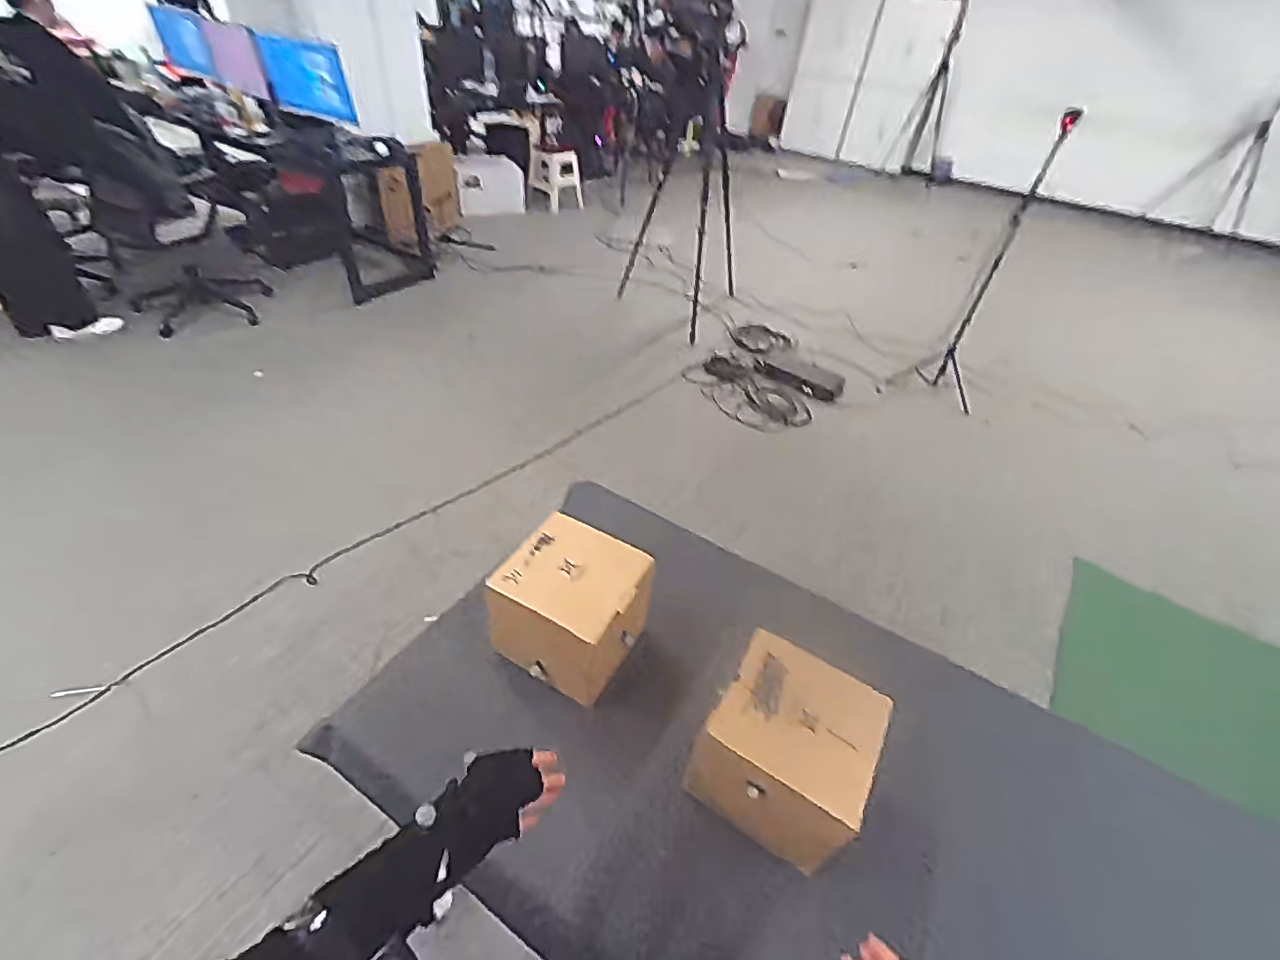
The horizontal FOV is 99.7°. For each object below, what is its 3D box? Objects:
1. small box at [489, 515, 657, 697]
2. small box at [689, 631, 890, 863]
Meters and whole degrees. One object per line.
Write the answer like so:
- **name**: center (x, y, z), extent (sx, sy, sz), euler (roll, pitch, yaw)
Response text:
- **small box**: center (-0.097, 0.190, 0.801), extent (0.179, 0.176, 0.168), euler (25, 44, 18)
- **small box**: center (0.178, 0.333, 0.677), extent (0.179, 0.176, 0.168), euler (27, 45, 20)
